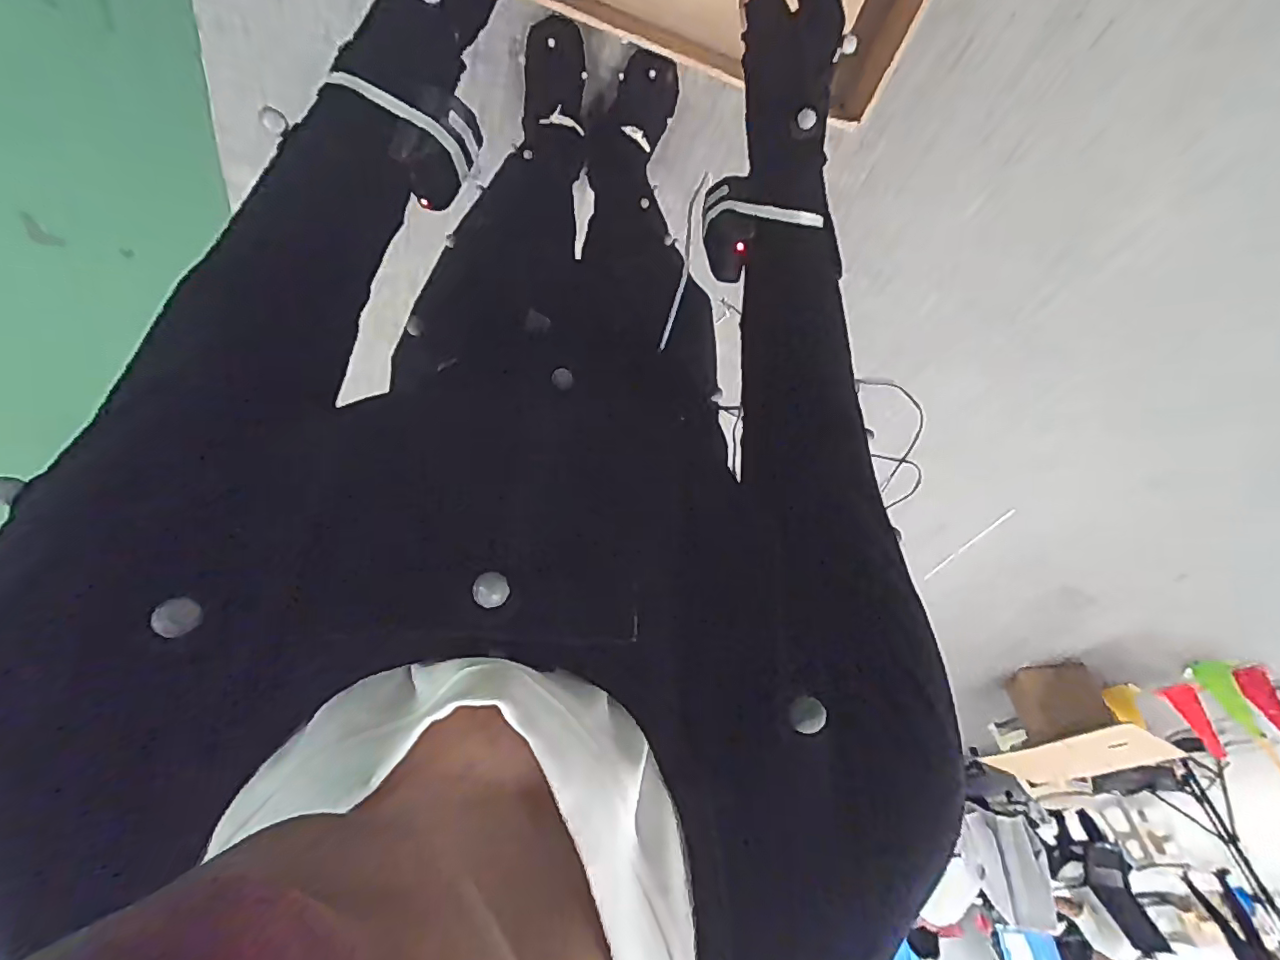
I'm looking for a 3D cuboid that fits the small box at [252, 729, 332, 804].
[{"bbox_3d":[-1.126,0.930,1.758,0.168,0.176,0.179,20,134,-16],"label":"small box"}]
